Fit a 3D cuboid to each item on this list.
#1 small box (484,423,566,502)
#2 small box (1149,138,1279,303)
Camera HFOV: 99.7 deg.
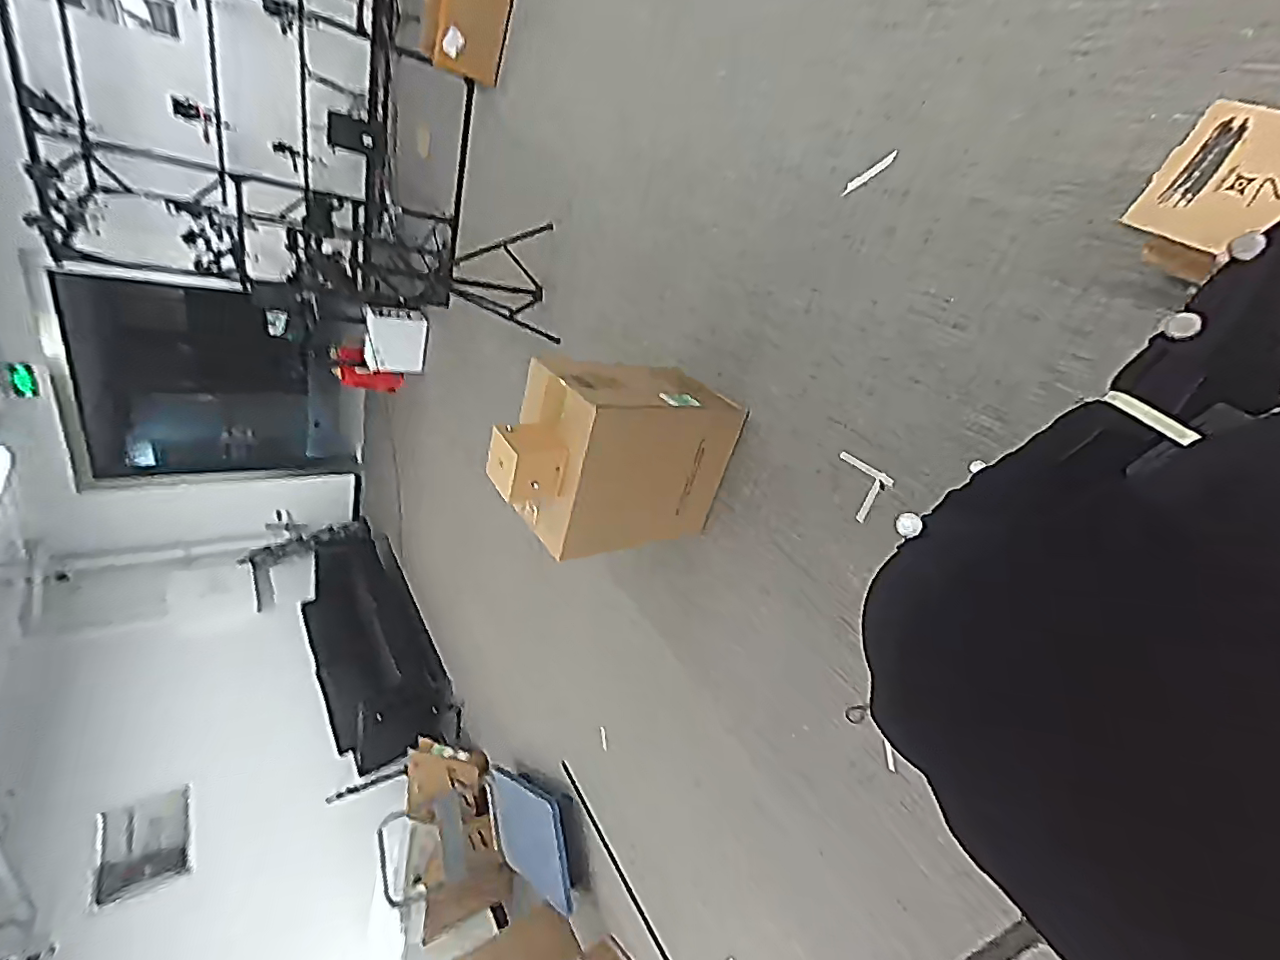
[{"bbox_3d":[-0.337,-0.059,1.582,0.179,0.176,0.168,45,128,40],"label":"small box"},{"bbox_3d":[0.982,-0.404,0.860,0.168,0.176,0.179,52,133,36],"label":"small box"}]
